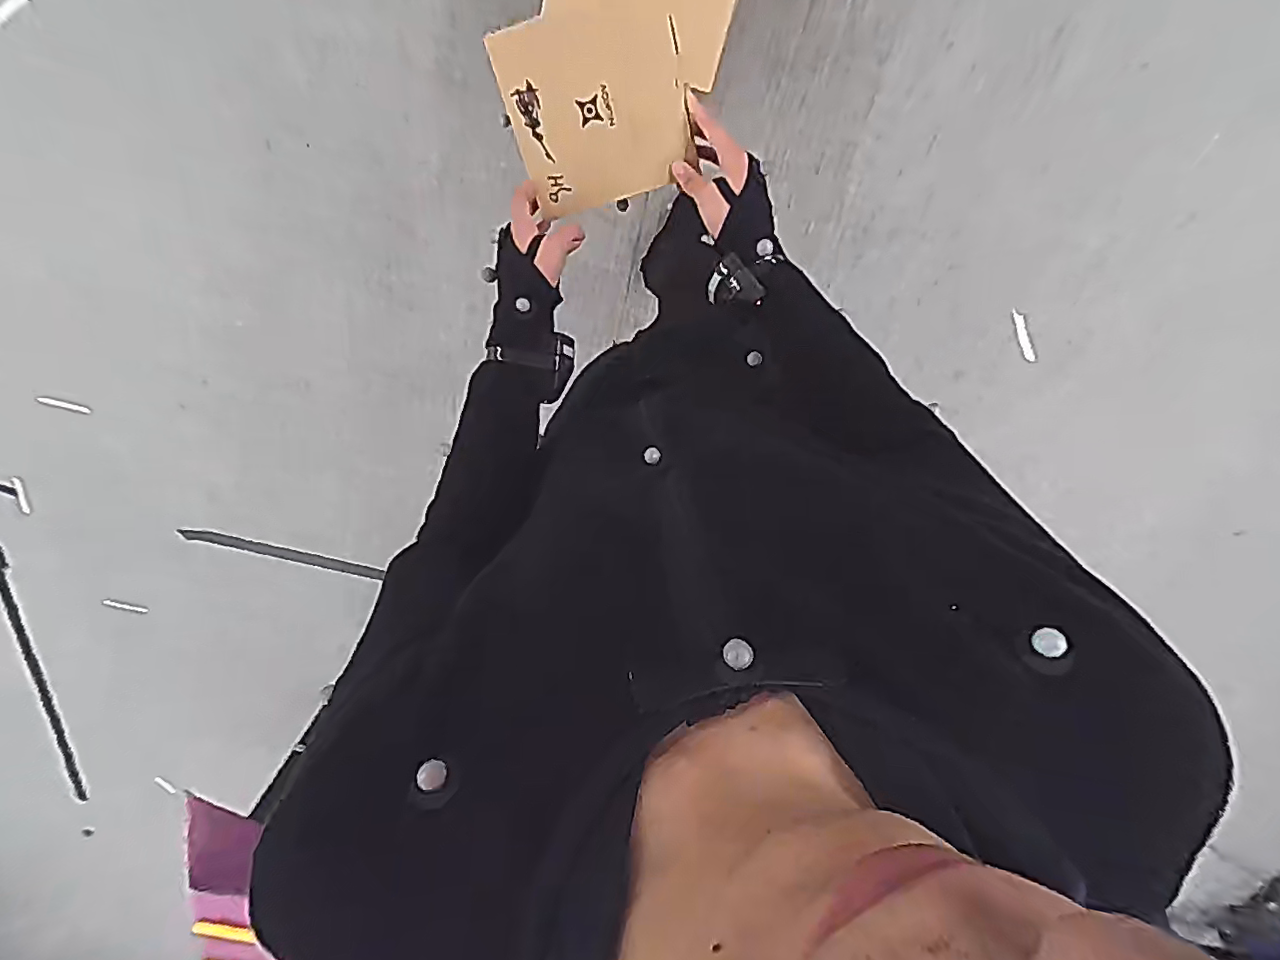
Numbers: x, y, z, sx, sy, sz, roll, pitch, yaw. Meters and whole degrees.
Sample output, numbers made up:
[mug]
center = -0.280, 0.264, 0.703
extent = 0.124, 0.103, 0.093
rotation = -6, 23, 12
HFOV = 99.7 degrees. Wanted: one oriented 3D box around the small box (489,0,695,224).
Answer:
[small box]
center = -0.048, -0.408, 0.615
extent = 0.179, 0.176, 0.168
rotation = -14, 119, 5
